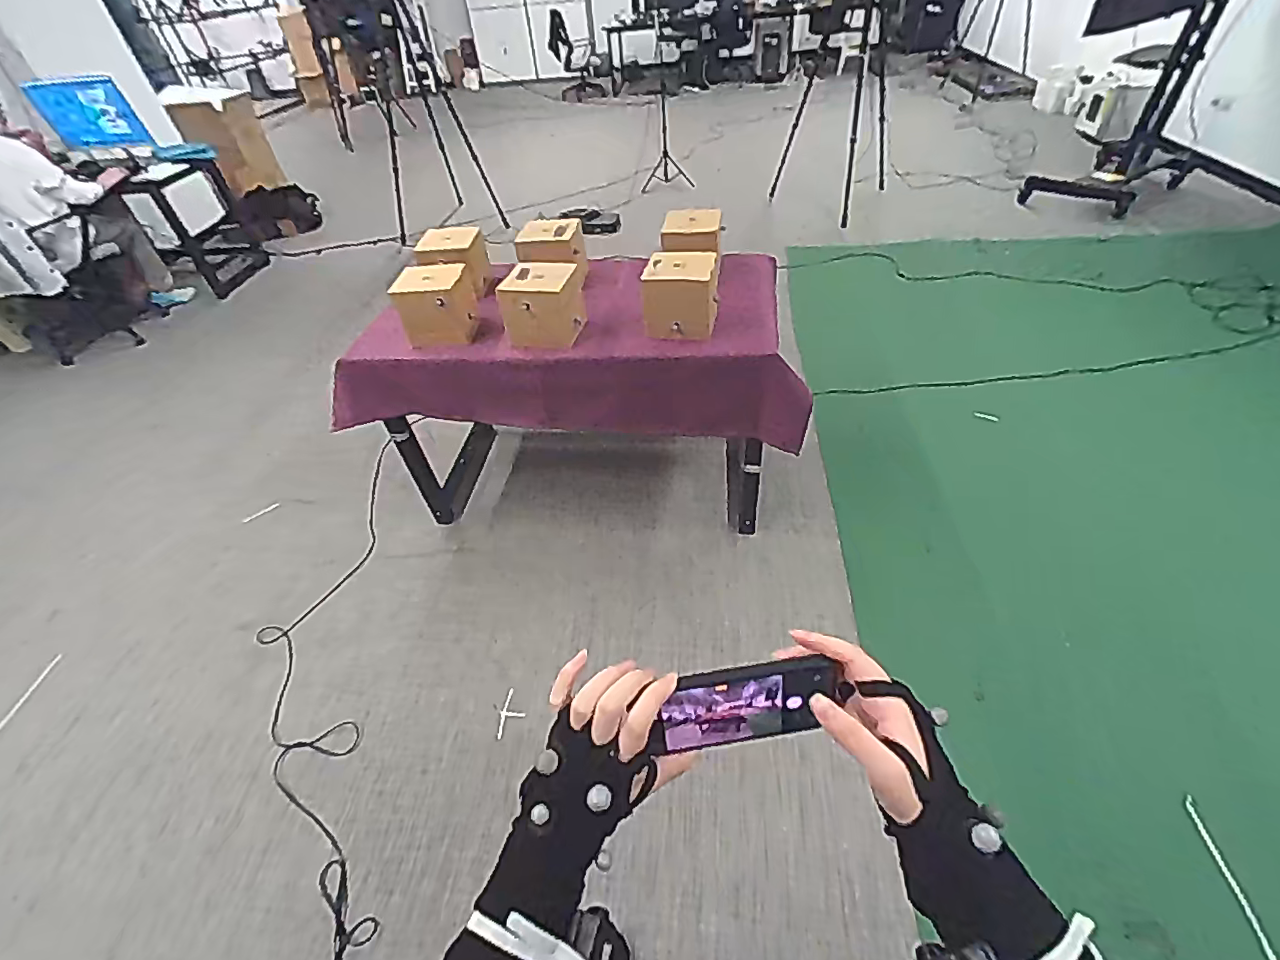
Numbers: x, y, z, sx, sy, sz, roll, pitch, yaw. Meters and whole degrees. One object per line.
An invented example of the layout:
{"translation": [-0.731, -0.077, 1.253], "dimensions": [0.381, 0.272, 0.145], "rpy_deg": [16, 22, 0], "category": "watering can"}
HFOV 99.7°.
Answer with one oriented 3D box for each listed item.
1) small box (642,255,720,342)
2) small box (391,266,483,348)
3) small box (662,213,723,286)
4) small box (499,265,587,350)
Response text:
{"translation": [0.113, -0.484, 1.449], "dimensions": [0.179, 0.176, 0.168], "rpy_deg": [7, 45, 12], "category": "small box"}
{"translation": [-0.565, -0.486, 1.529], "dimensions": [0.179, 0.176, 0.168], "rpy_deg": [-2, 44, 3], "category": "small box"}
{"translation": [0.165, -0.705, 1.666], "dimensions": [0.168, 0.176, 0.179], "rpy_deg": [3, 46, 11], "category": "small box"}
{"translation": [-0.256, -0.469, 1.476], "dimensions": [0.179, 0.176, 0.168], "rpy_deg": [6, 46, 11], "category": "small box"}
